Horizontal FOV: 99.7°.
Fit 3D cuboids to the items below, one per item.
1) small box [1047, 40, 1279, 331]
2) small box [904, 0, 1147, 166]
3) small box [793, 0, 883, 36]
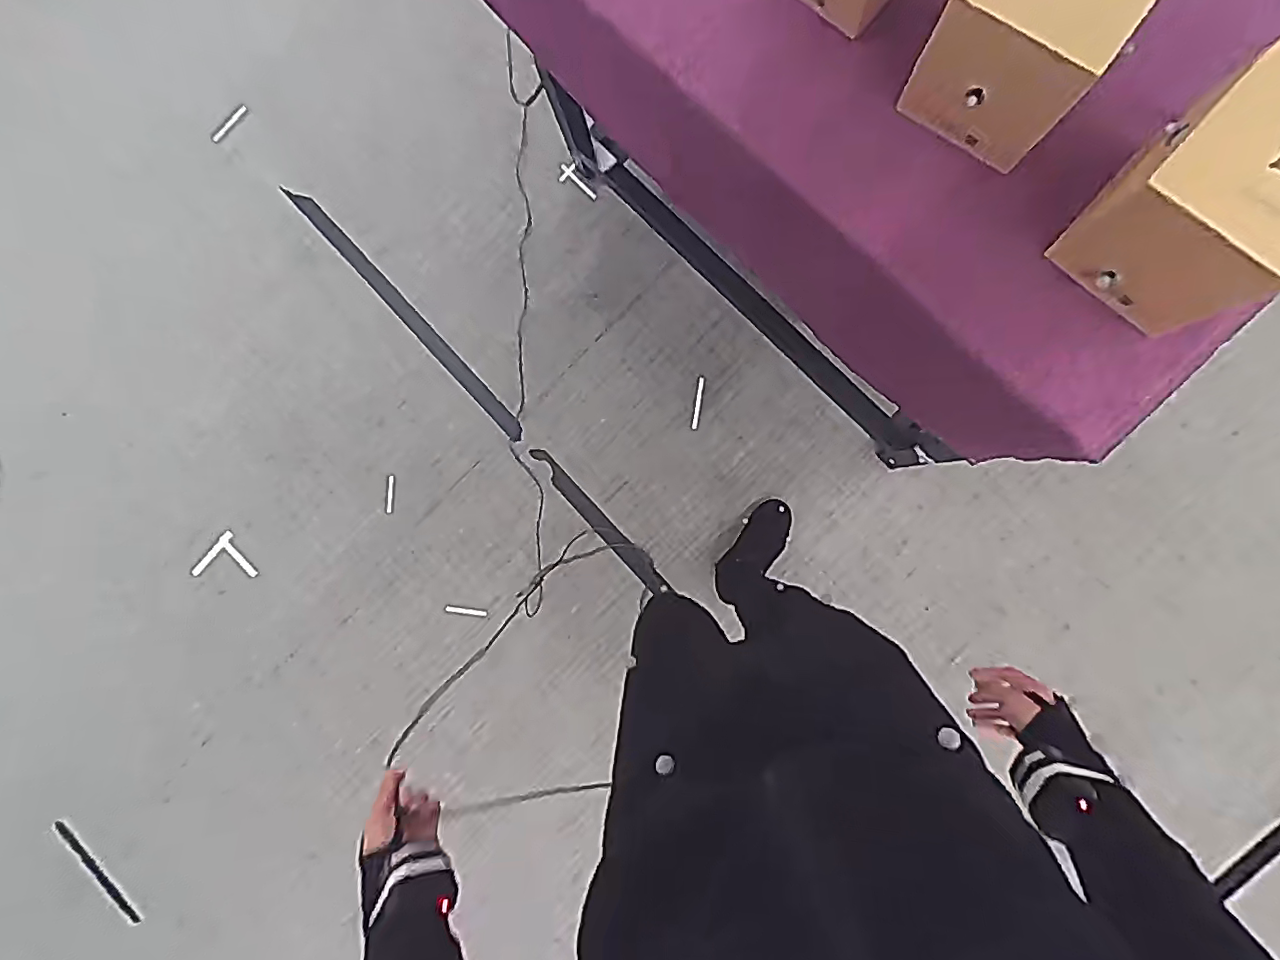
[{"bbox_3d":[0.603,-0.295,0.583,0.168,0.176,0.179,42,93,6],"label":"small box"},{"bbox_3d":[0.429,-0.503,0.605,0.168,0.176,0.179,36,93,5],"label":"small box"},{"bbox_3d":[0.260,-0.691,0.628,0.168,0.176,0.179,41,94,6],"label":"small box"}]
